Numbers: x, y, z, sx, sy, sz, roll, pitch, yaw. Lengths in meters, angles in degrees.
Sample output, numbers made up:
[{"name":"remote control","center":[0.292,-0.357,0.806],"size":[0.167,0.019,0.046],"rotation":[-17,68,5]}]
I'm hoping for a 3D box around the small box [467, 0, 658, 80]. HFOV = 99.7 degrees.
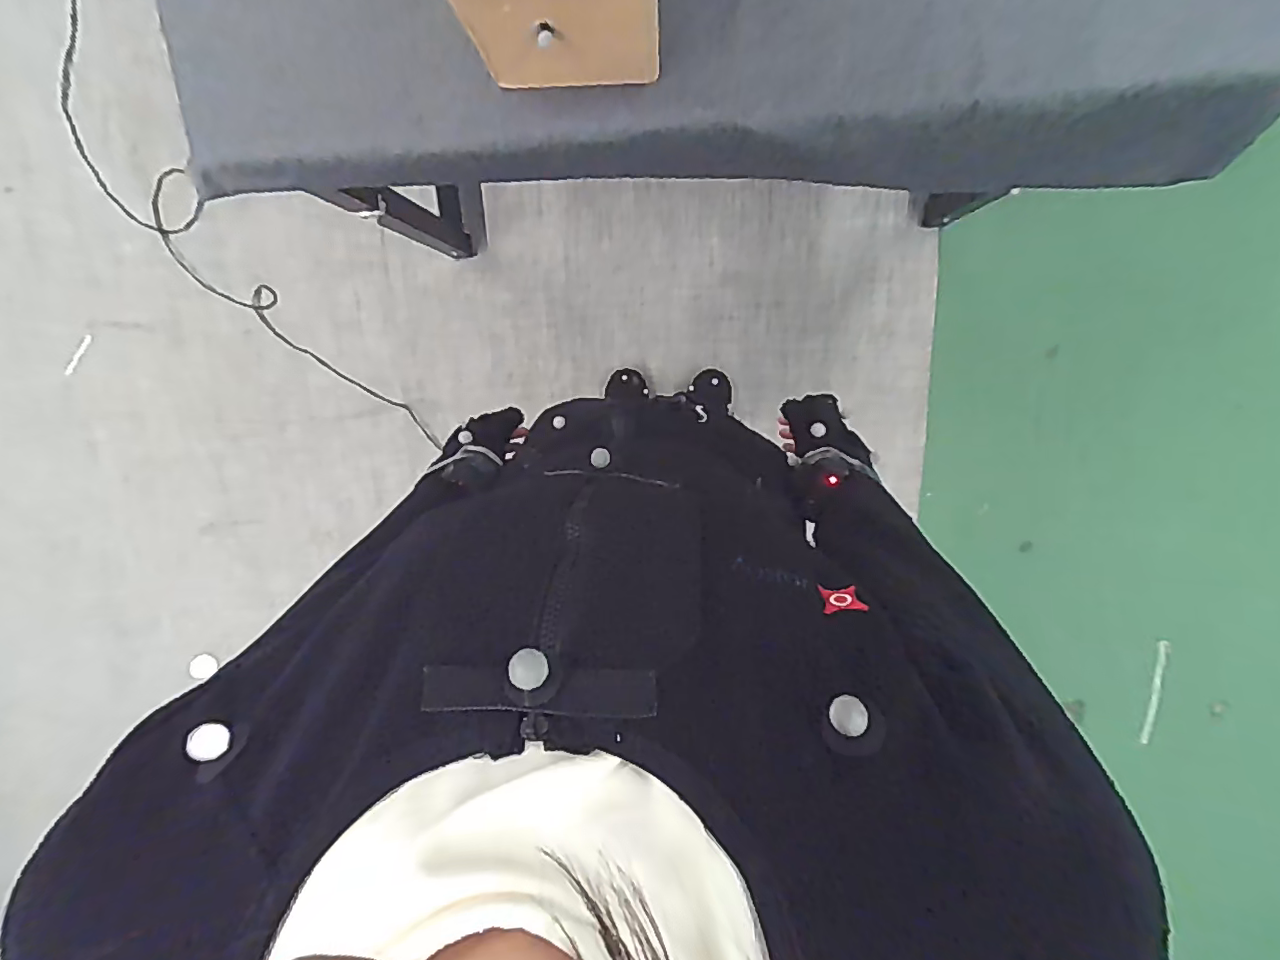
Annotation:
[{"name":"small box","center":[-0.073,-0.507,0.505],"size":[0.179,0.176,0.168],"rotation":[0,101,3]}]
